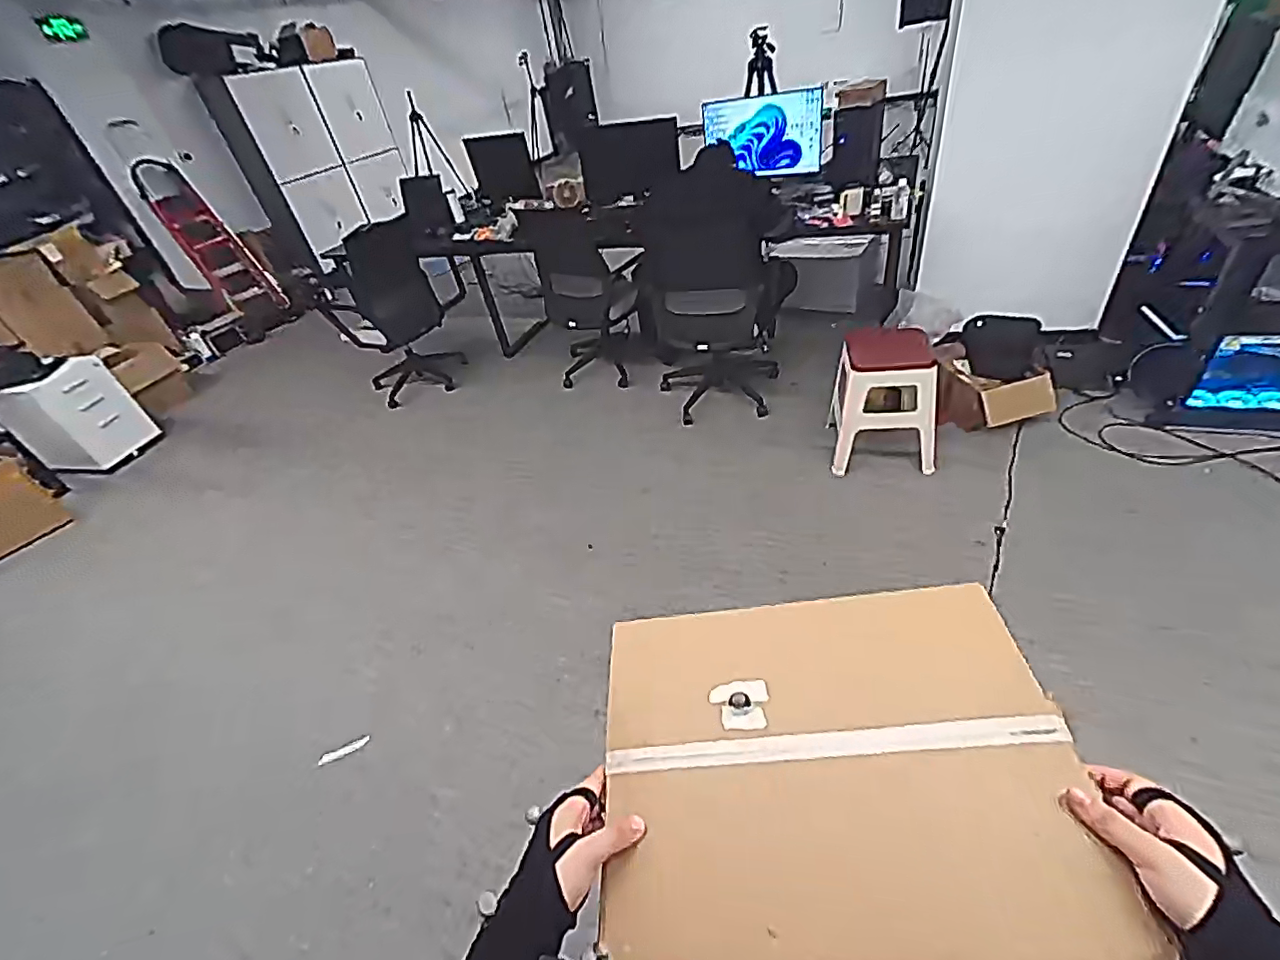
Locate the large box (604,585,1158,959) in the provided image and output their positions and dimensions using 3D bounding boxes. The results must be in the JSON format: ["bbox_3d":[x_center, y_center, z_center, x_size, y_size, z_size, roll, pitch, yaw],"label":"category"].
[{"bbox_3d":[0.200,0.357,0.604,0.408,0.320,0.320,-10,41,10],"label":"large box"}]
